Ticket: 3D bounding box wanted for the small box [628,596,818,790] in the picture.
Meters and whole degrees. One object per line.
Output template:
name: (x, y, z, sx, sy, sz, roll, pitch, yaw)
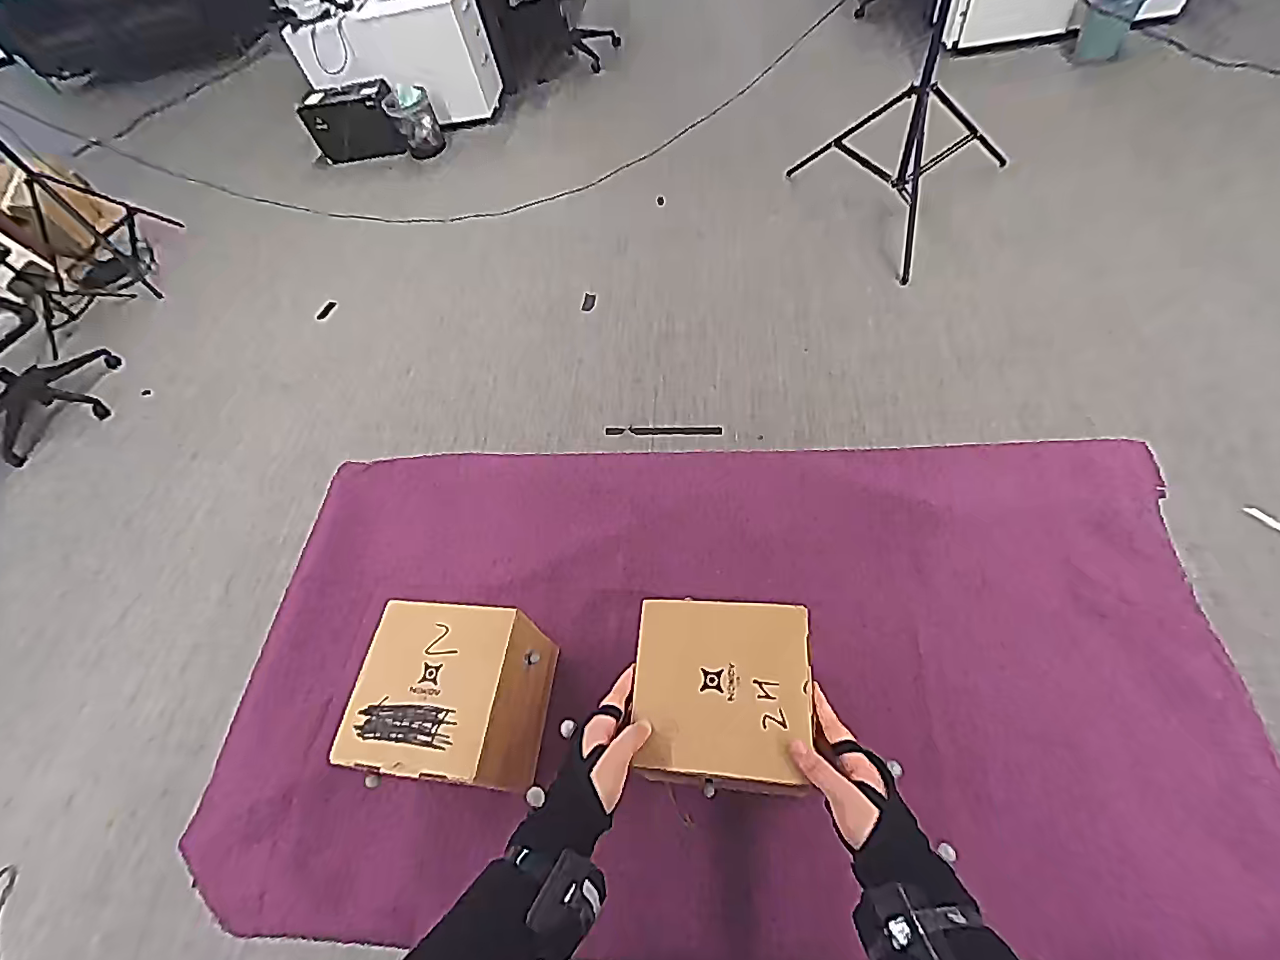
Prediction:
small box: (0.095, 0.239, 0.599, 0.179, 0.176, 0.168, 1, 59, 11)
